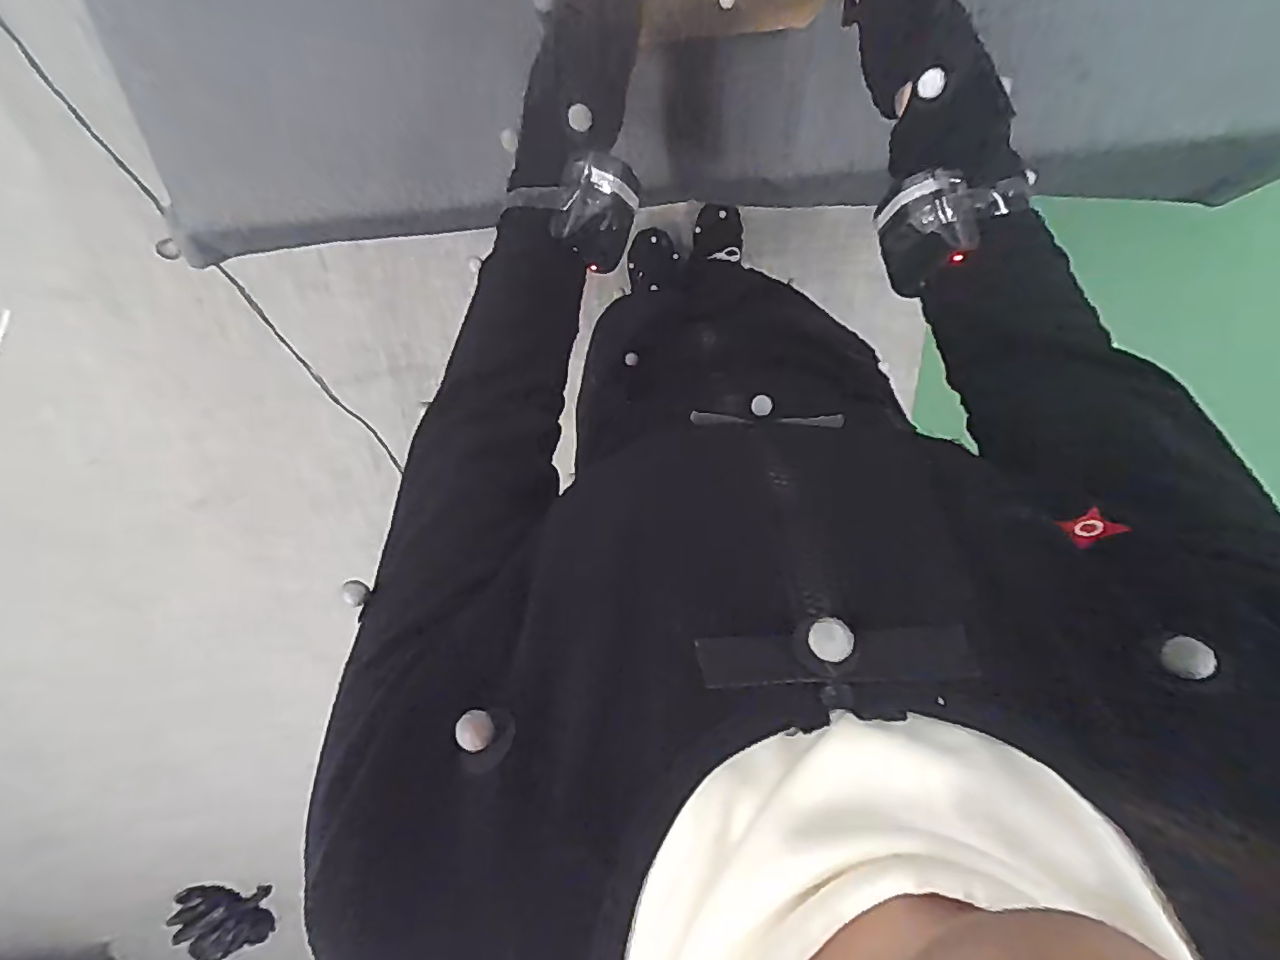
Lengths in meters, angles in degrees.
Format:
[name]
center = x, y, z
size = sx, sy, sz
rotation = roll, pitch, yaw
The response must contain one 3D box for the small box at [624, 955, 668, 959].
[small box]
center = 0.011, 1.734, 1.810
size = 0.179, 0.176, 0.168
rotation = 0, 117, -4
